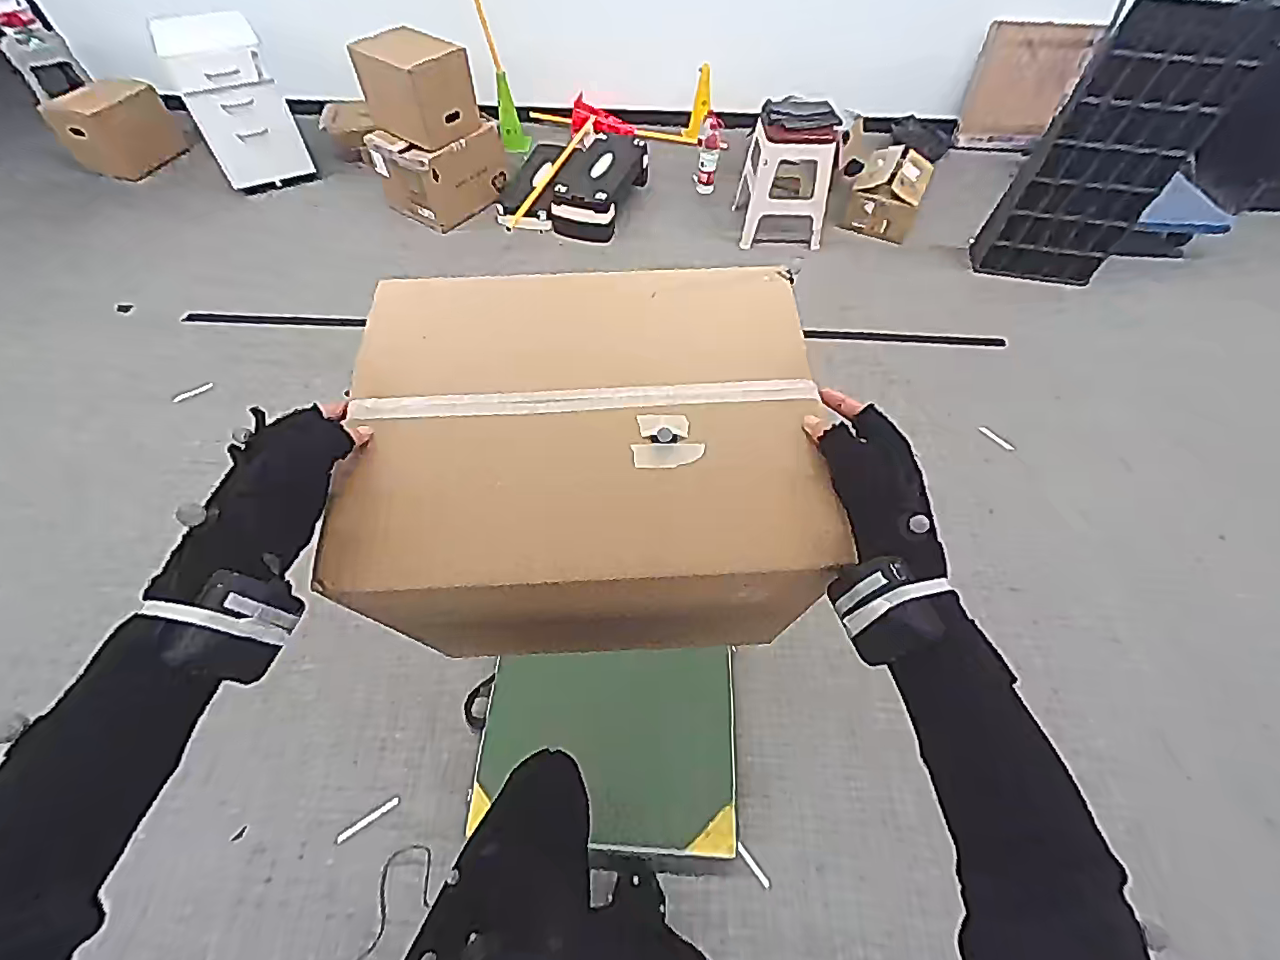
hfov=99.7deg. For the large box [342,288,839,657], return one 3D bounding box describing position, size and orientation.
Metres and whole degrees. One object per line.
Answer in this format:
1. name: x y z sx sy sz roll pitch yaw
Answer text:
1. large box: -0.048 0.010 0.625 0.408 0.320 0.320 -2 63 -2
